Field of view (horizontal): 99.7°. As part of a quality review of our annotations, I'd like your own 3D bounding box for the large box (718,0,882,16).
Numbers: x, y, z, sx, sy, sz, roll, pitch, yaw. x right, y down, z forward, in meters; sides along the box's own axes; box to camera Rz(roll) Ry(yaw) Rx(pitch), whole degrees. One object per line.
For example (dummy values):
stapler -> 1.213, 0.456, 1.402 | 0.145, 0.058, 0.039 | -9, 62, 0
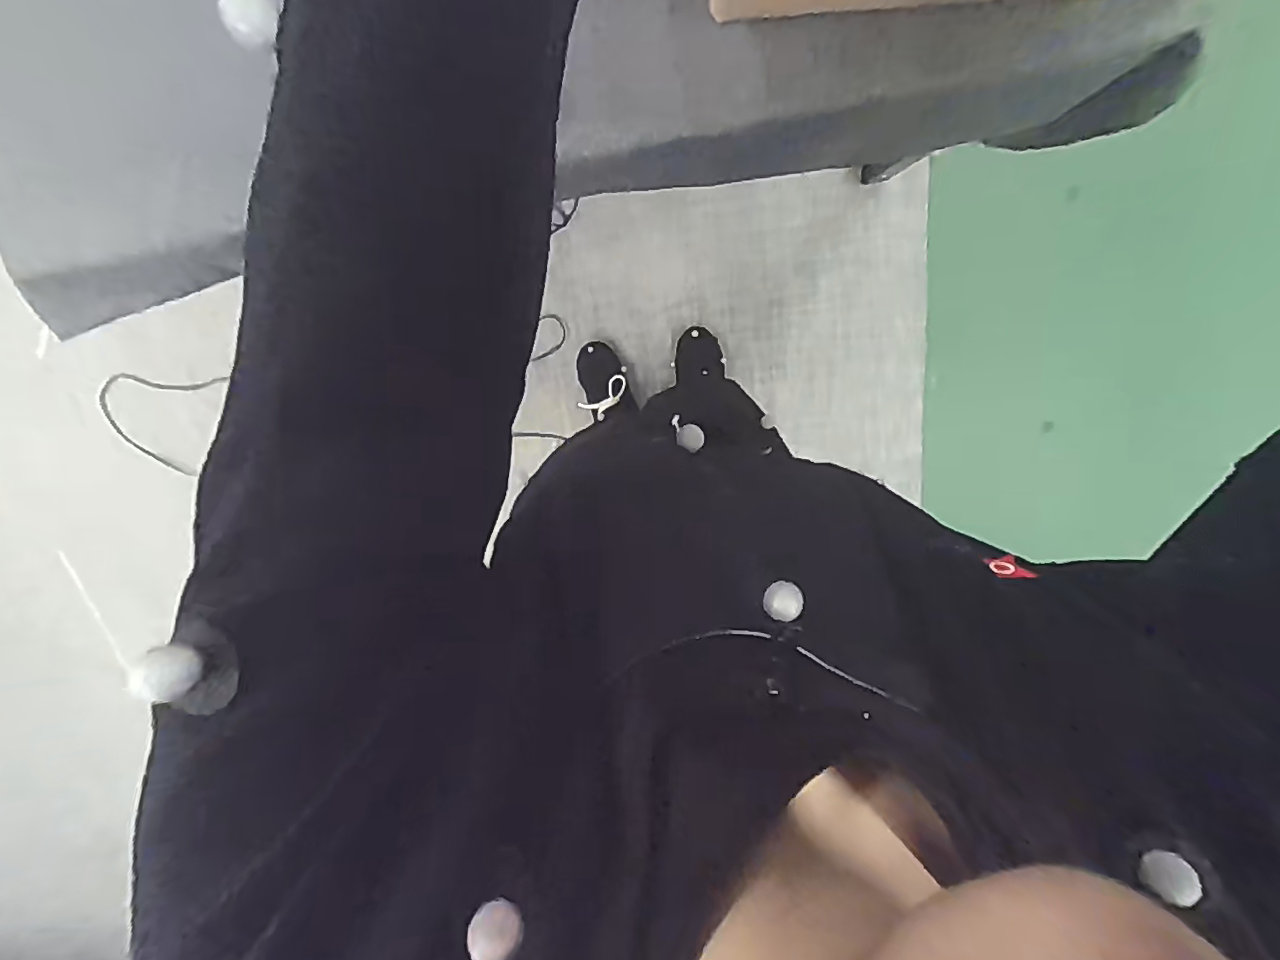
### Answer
large box -> 0.243, -0.508, 0.270 | 0.408, 0.320, 0.320 | -1, 109, 5
